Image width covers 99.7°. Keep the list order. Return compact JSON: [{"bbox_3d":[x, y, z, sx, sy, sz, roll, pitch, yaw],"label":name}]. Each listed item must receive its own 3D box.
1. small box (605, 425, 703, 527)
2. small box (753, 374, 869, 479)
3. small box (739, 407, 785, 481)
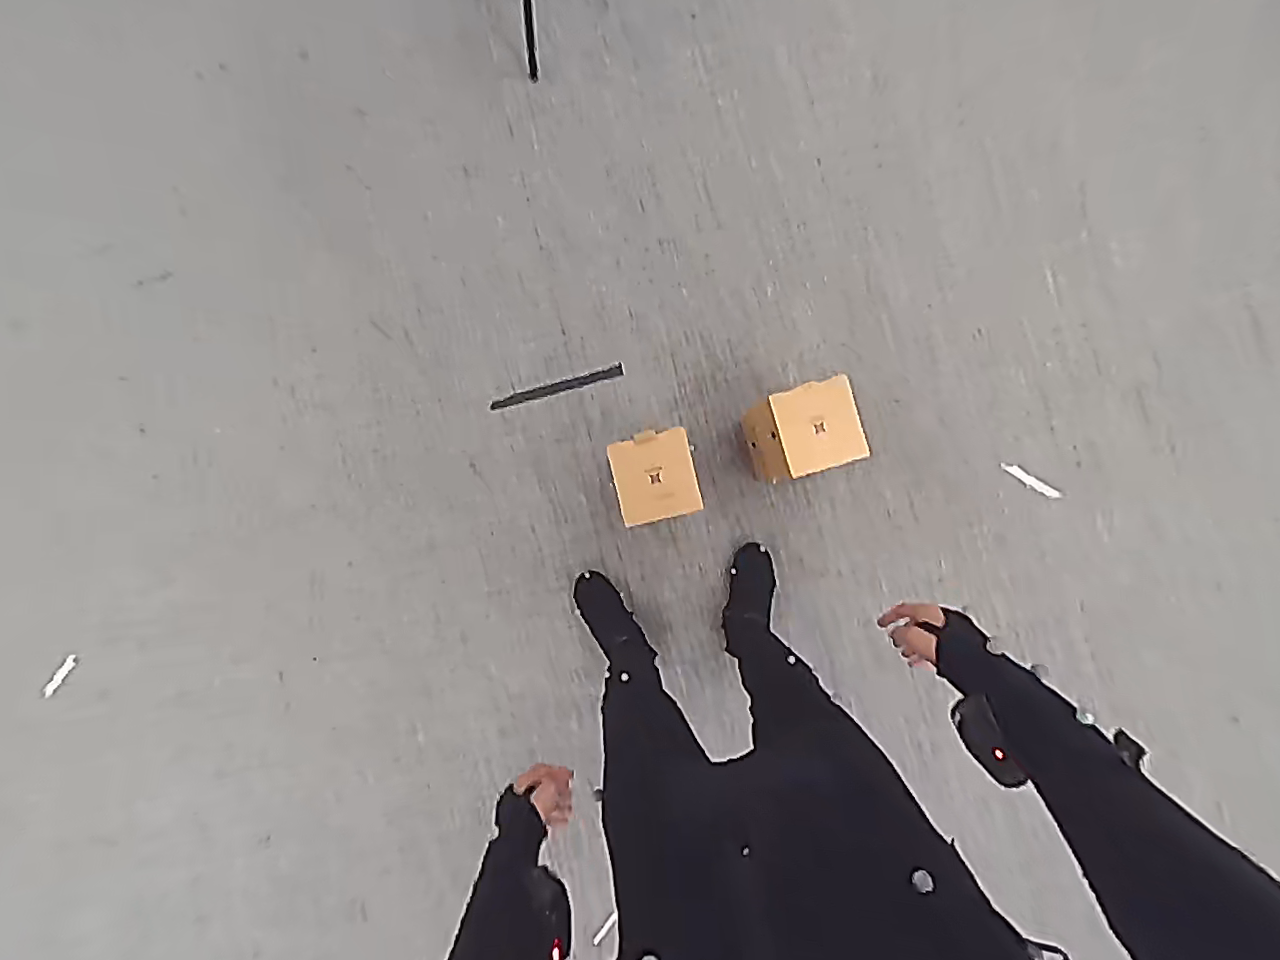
[{"bbox_3d":[0.028,-0.005,1.150,0.168,0.176,0.179,-14,89,1],"label":"small box"},{"bbox_3d":[0.355,-0.106,1.151,0.168,0.176,0.179,-16,88,0],"label":"small box"},{"bbox_3d":[0.354,-0.102,1.314,0.168,0.176,0.179,-17,88,0],"label":"small box"}]
